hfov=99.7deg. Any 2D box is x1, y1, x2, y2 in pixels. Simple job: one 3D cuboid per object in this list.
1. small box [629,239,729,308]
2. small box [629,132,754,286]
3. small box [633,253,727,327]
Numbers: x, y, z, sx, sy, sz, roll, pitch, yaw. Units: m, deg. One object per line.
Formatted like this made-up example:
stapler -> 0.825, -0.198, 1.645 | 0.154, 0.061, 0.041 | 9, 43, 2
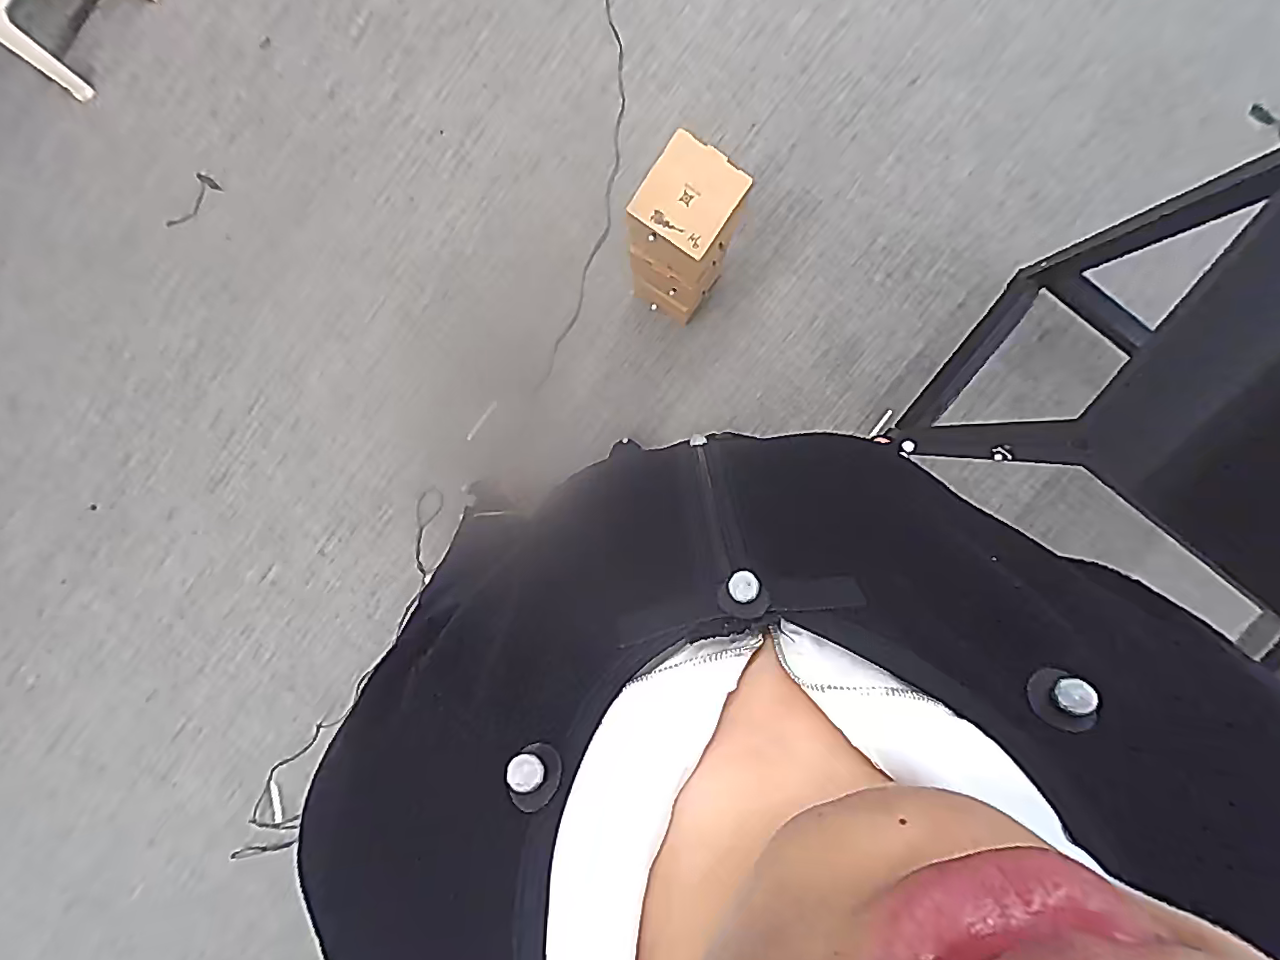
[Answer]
small box -> 0.093, -0.518, 1.221 | 0.168, 0.176, 0.179 | 32, 93, -1
small box -> 0.094, -0.516, 1.056 | 0.168, 0.176, 0.179 | 35, 94, 0
small box -> 0.098, -0.522, 1.383 | 0.168, 0.176, 0.179 | 35, 95, 0
